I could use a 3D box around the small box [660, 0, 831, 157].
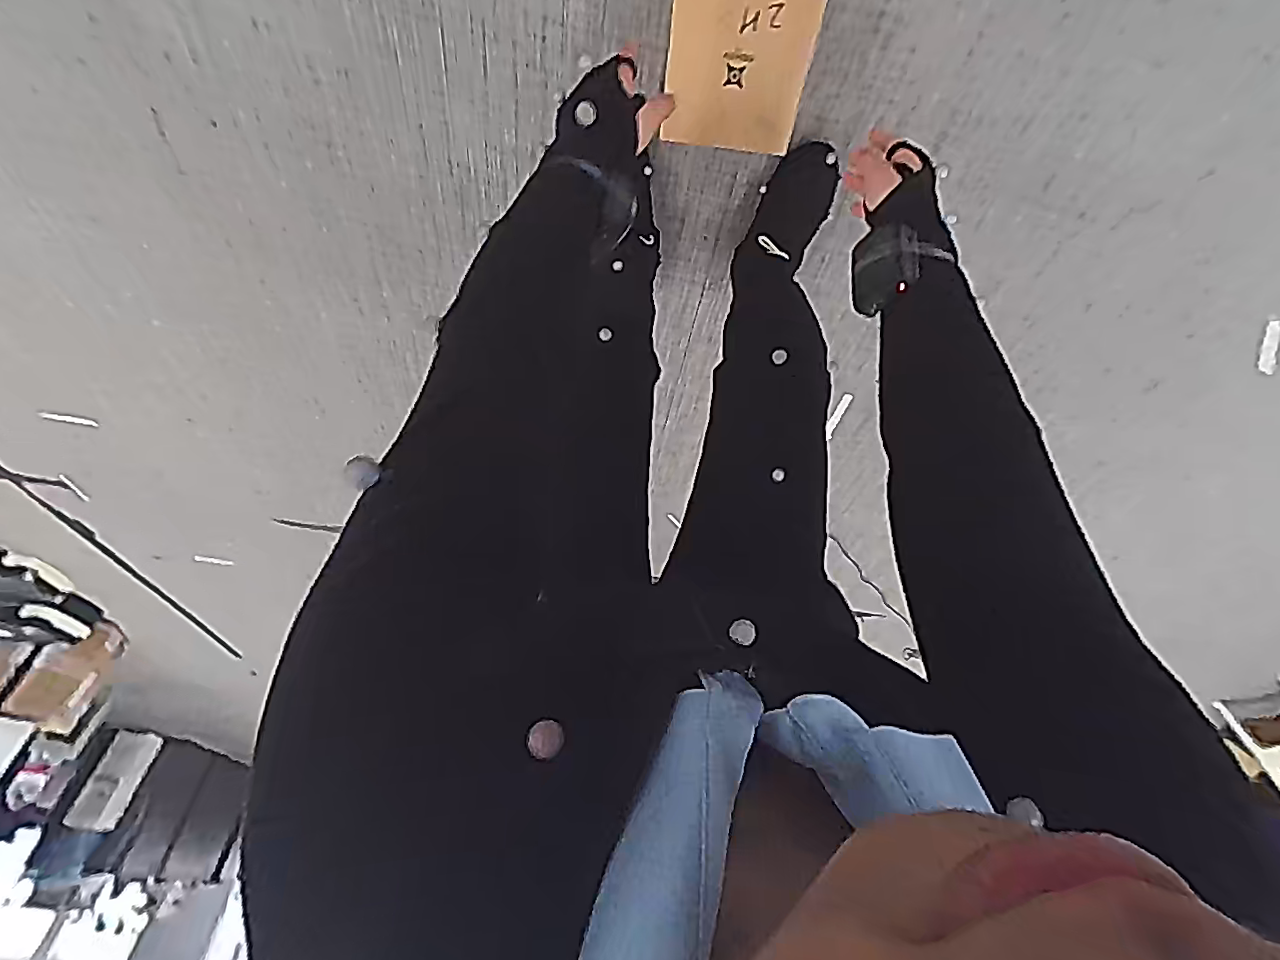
[{"bbox_3d":[0.122,-0.538,0.670,0.168,0.176,0.179,7,141,-1],"label":"small box"}]
